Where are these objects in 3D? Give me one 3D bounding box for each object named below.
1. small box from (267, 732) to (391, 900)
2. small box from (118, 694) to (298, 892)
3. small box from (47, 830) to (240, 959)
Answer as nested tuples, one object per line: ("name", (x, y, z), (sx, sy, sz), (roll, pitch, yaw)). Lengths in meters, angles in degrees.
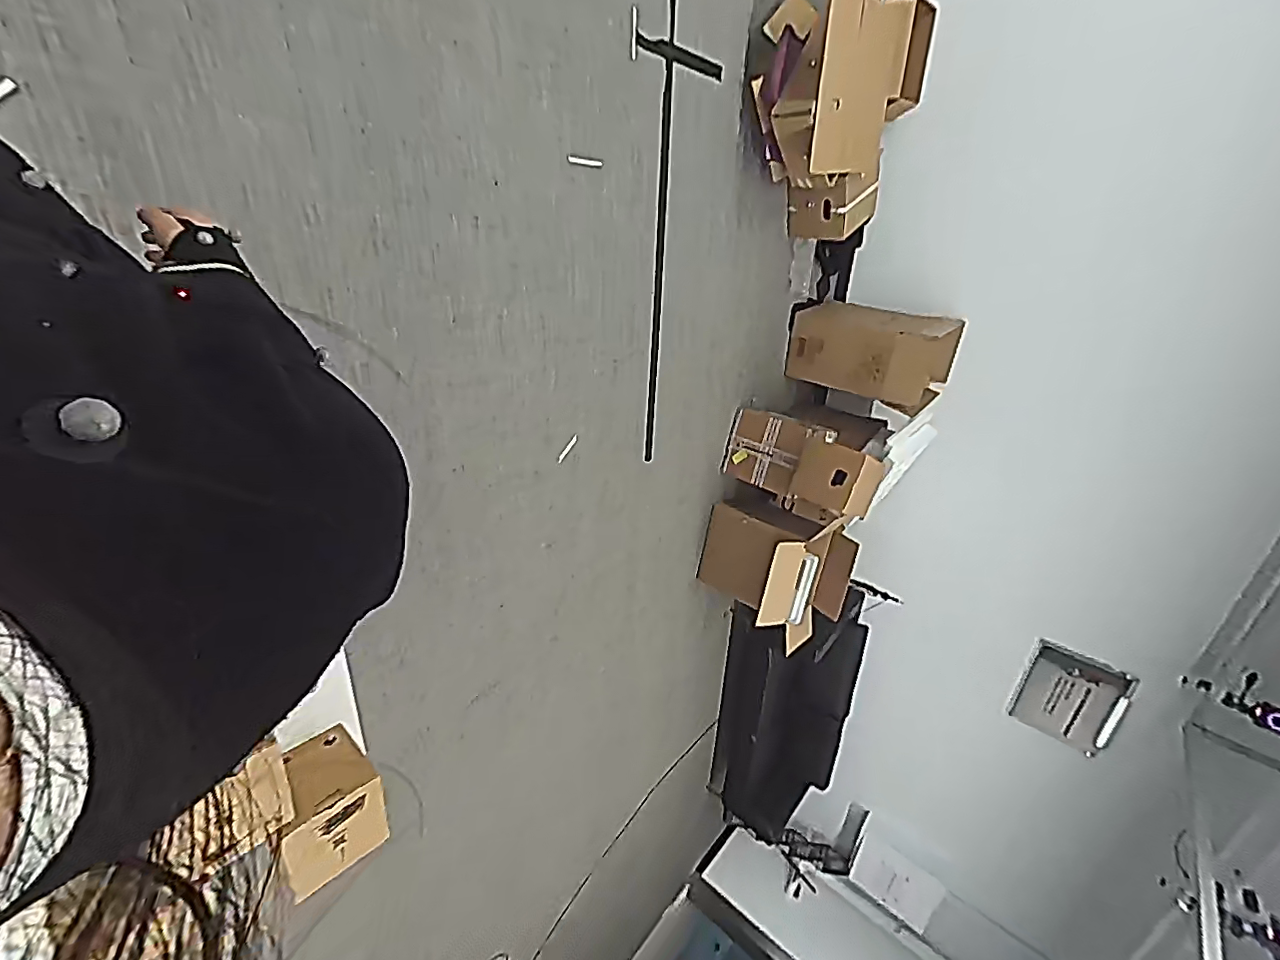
("small box", (-0.590, 0.605, 1.005), (0.168, 0.176, 0.179), (-21, 125, -46))
("small box", (-0.661, 0.461, 0.833), (0.168, 0.176, 0.179), (-20, 124, -46))
("small box", (-0.754, 0.671, 0.828), (0.168, 0.176, 0.179), (-24, 125, -46))
